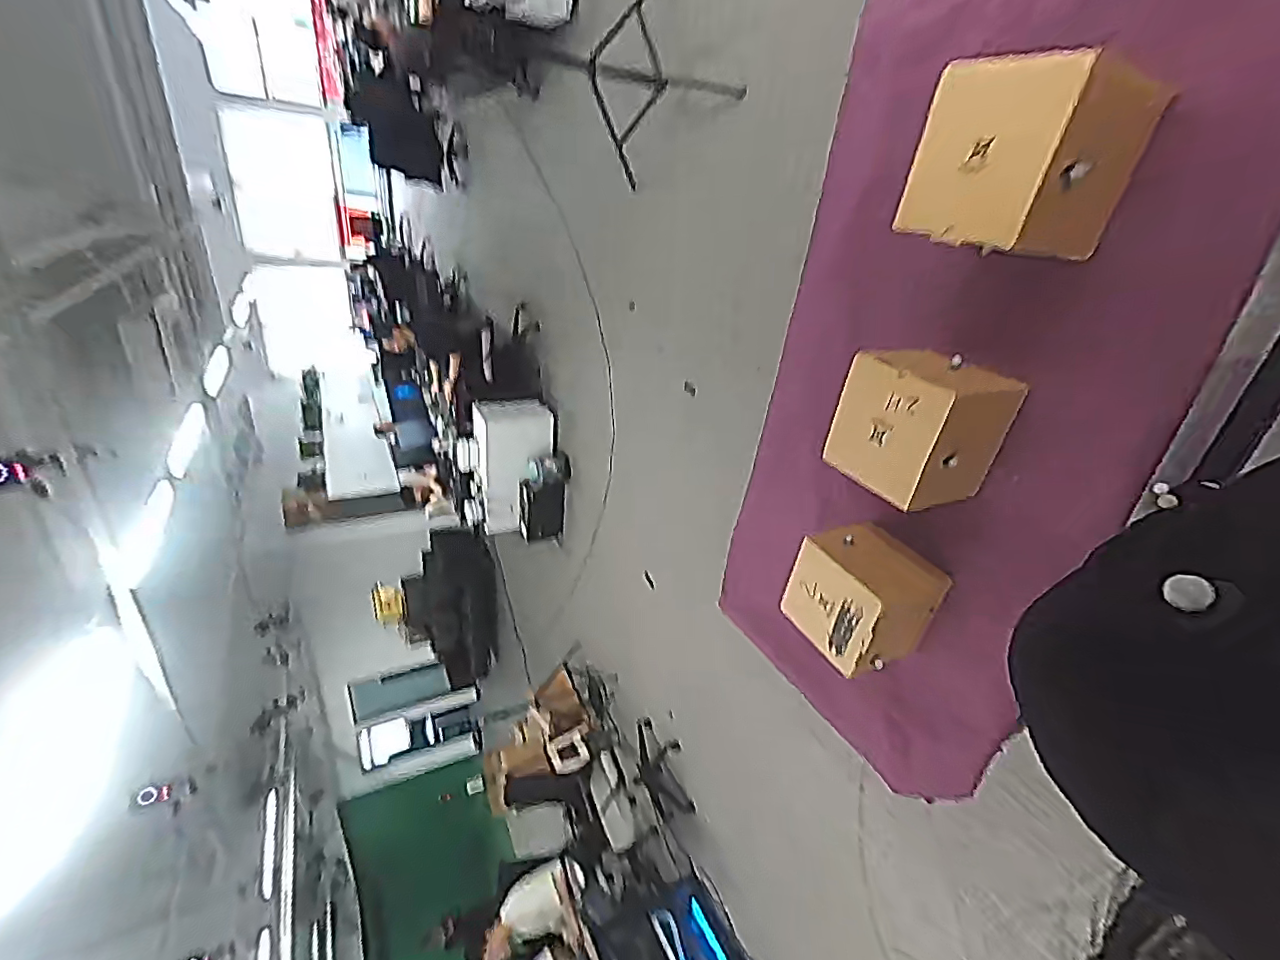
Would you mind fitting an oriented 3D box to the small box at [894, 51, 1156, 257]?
[{"bbox_3d":[0.447,-0.373,0.638,0.168,0.176,0.179,48,139,48],"label":"small box"}]

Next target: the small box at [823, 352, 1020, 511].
[{"bbox_3d":[0.408,-0.079,0.795,0.168,0.176,0.179,46,136,48],"label":"small box"}]
